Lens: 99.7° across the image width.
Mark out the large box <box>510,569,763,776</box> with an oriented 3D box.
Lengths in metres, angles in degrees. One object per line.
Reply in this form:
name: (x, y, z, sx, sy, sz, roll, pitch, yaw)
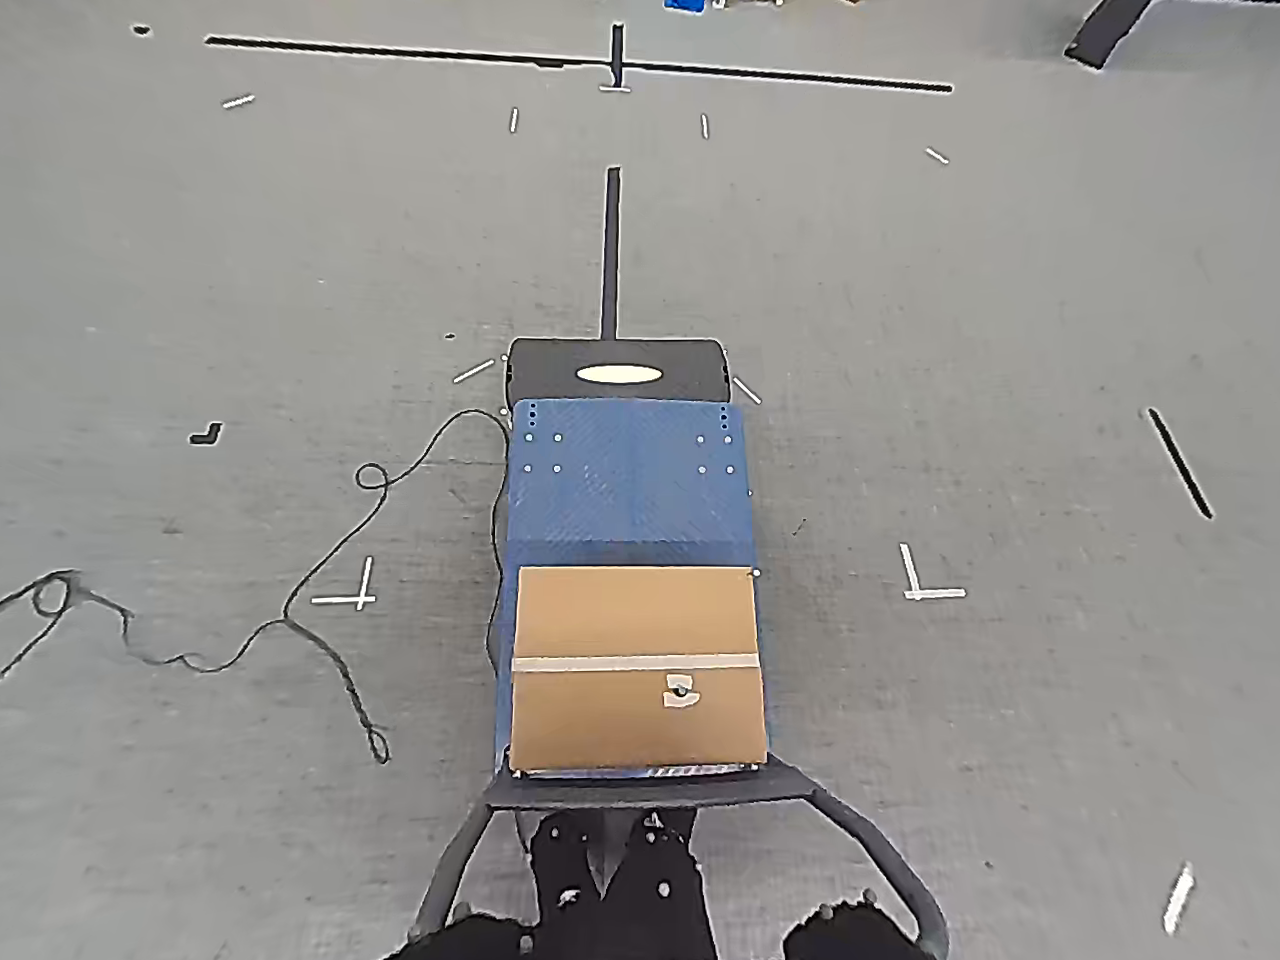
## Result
large box: (-0.020, 0.347, 1.022, 0.408, 0.320, 0.320, 1, 73, -5)
